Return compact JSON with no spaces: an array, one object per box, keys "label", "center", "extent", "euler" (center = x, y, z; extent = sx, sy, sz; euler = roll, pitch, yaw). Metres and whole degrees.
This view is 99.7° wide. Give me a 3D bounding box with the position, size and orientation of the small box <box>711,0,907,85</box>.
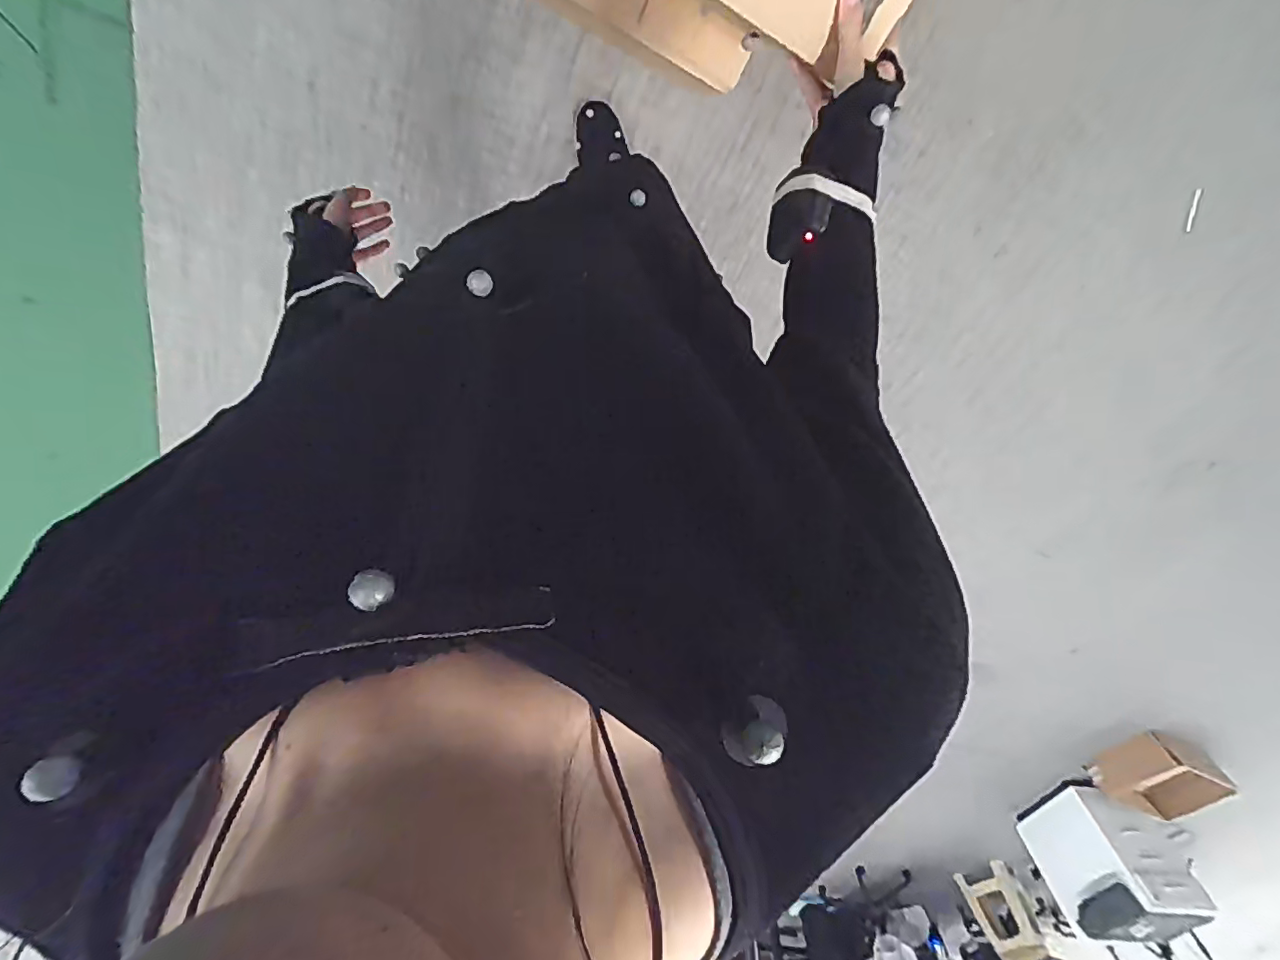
[{"label":"small box","center":[0.152,-0.497,0.480],"extent":[0.179,0.176,0.168],"euler":[17,129,-20]}]
